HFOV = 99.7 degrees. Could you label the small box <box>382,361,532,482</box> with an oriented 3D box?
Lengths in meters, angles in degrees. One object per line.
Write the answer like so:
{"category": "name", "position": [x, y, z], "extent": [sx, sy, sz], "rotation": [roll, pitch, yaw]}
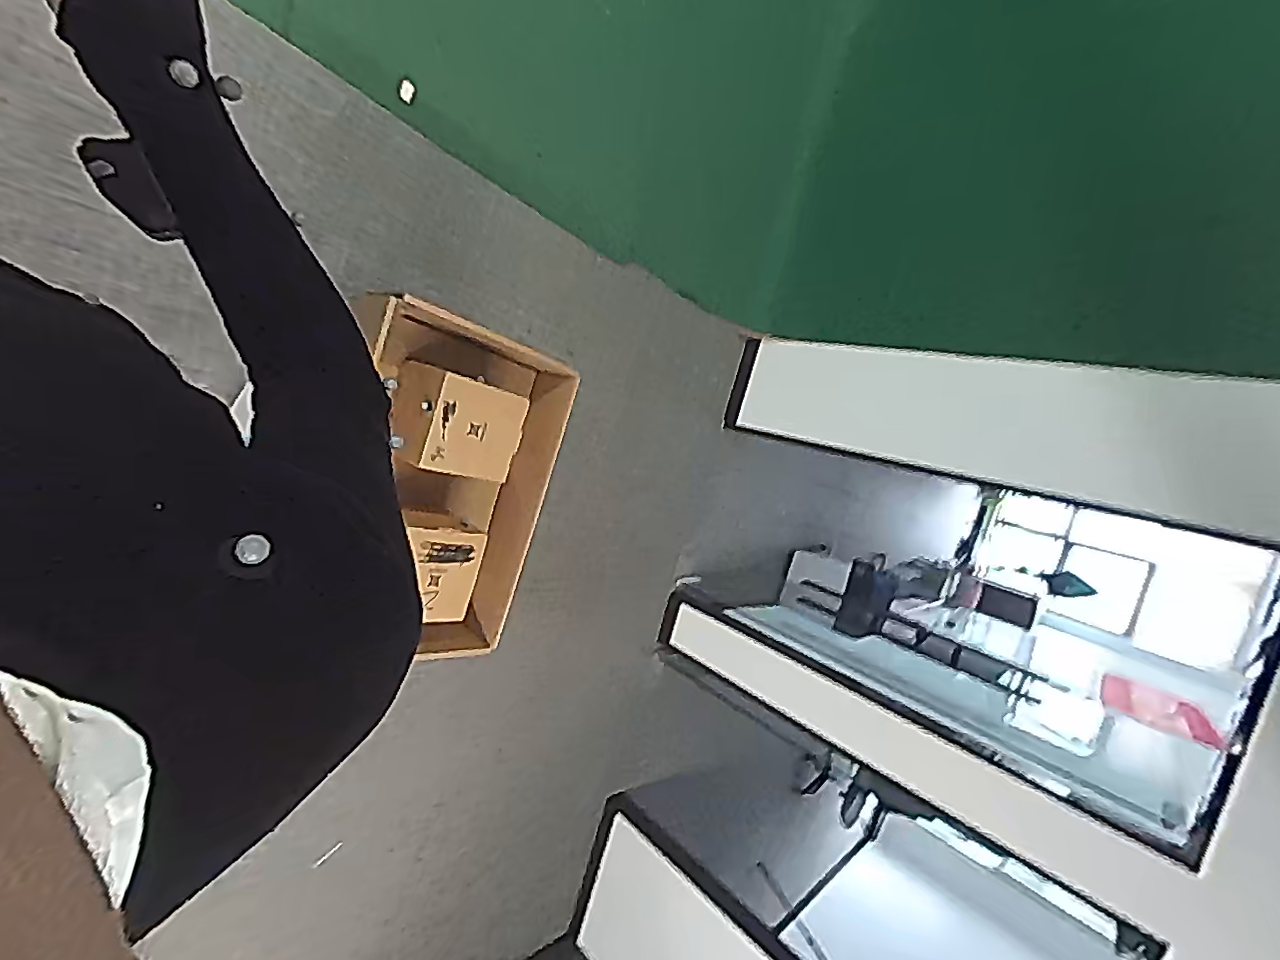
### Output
{"category": "small box", "position": [-0.336, -0.109, 0.994], "extent": [0.179, 0.176, 0.168], "rotation": [15, 95, -50]}
